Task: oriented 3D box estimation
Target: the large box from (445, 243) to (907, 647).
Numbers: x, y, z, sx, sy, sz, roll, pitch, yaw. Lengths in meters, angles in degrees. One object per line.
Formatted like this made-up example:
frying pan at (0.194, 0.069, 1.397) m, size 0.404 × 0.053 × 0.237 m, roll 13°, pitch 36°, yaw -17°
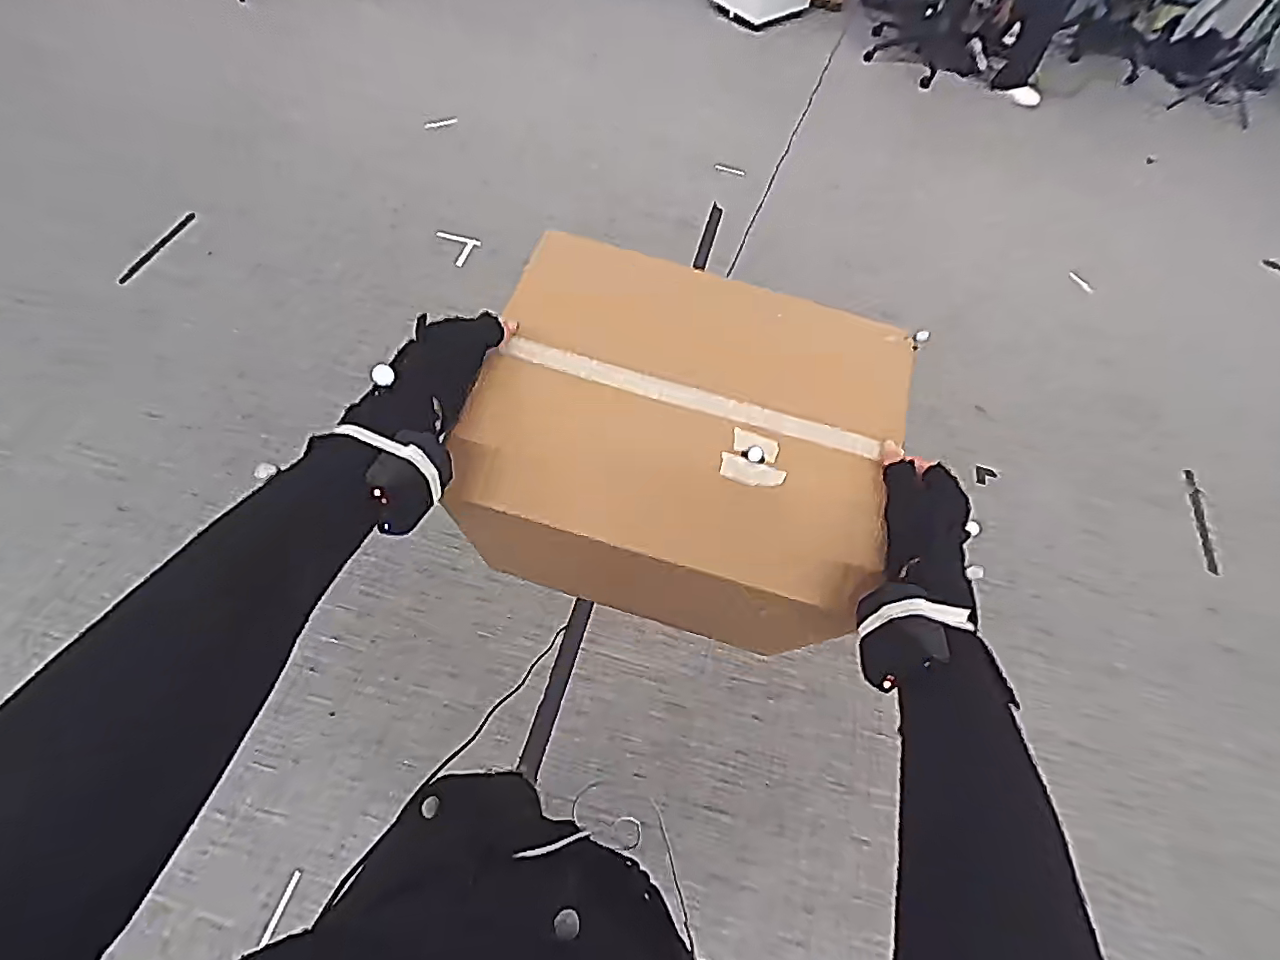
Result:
large box at (0.042, -0.016, 0.662) m, size 0.408 × 0.320 × 0.320 m, roll 17°, pitch 68°, yaw 2°
